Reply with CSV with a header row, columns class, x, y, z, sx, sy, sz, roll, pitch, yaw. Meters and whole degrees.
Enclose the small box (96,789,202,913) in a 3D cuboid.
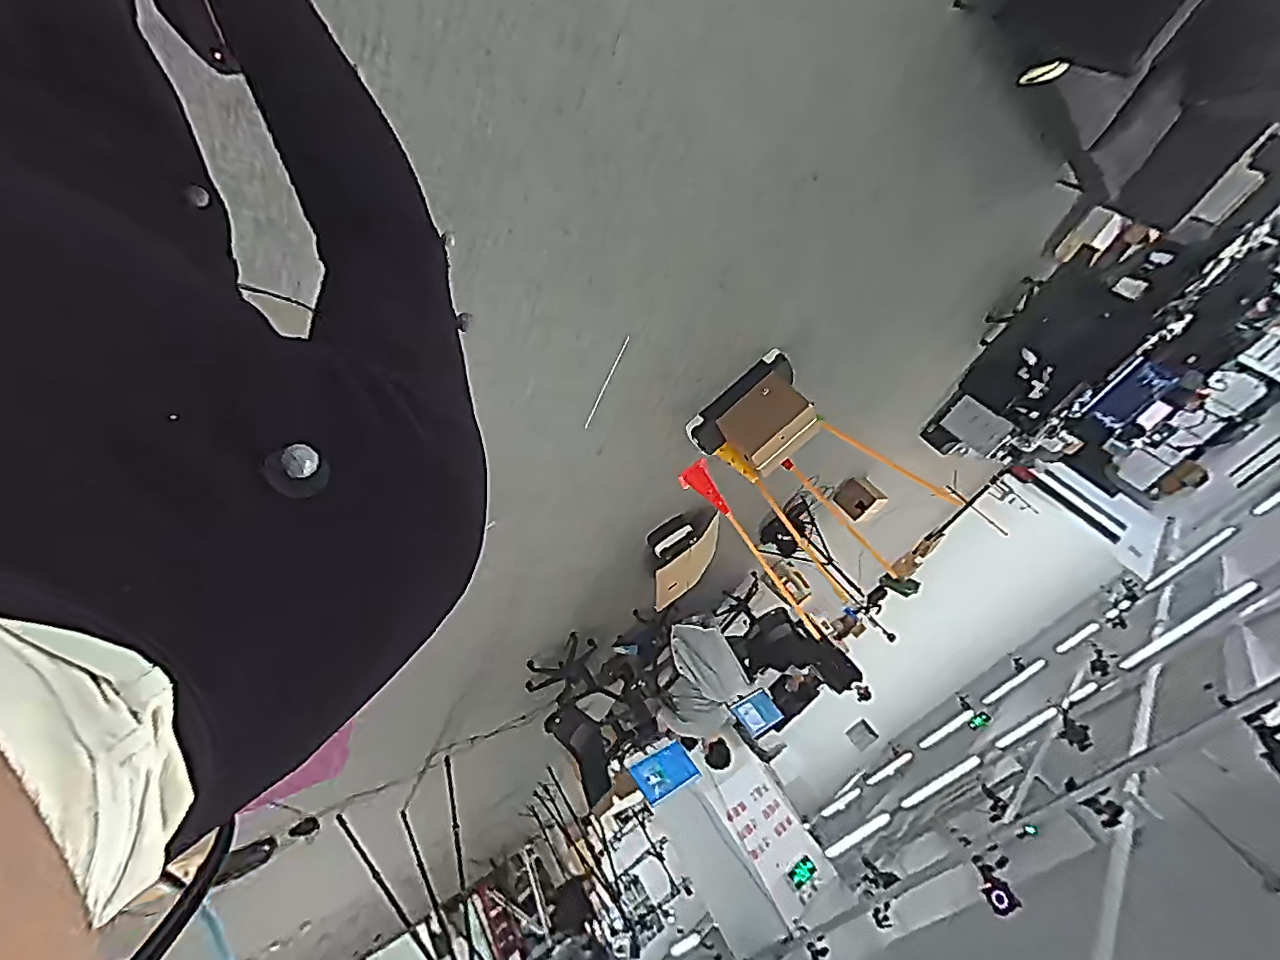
class,x,y,z,sx,sy,sz,roll,pitch,yaw
small box,-1.238,0.922,1.360,0.179,0.176,0.168,4,129,-50
